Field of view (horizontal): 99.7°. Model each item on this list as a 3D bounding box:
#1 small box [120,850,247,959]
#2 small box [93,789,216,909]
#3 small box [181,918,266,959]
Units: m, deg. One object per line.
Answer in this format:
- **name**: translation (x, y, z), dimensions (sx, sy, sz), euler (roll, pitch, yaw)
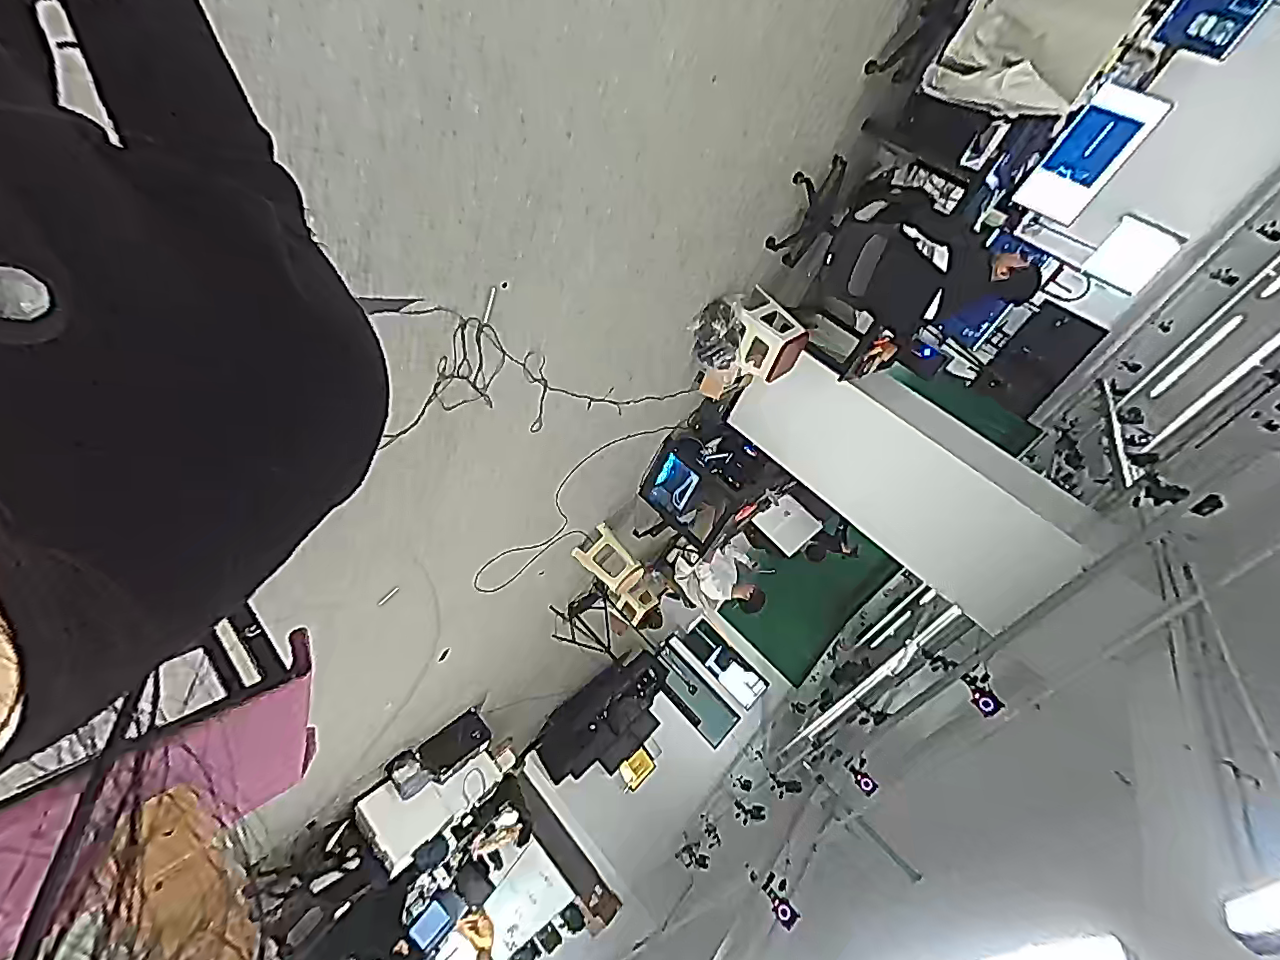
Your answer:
- **small box**: translation (-0.980, 0.950, 1.168), dimensions (0.168, 0.176, 0.179), euler (-22, 149, -49)
- **small box**: translation (-1.092, 0.842, 1.221), dimensions (0.168, 0.176, 0.179), euler (-22, 148, -50)
- **small box**: translation (-0.868, 1.054, 1.106), dimensions (0.168, 0.176, 0.179), euler (-21, 147, -50)
